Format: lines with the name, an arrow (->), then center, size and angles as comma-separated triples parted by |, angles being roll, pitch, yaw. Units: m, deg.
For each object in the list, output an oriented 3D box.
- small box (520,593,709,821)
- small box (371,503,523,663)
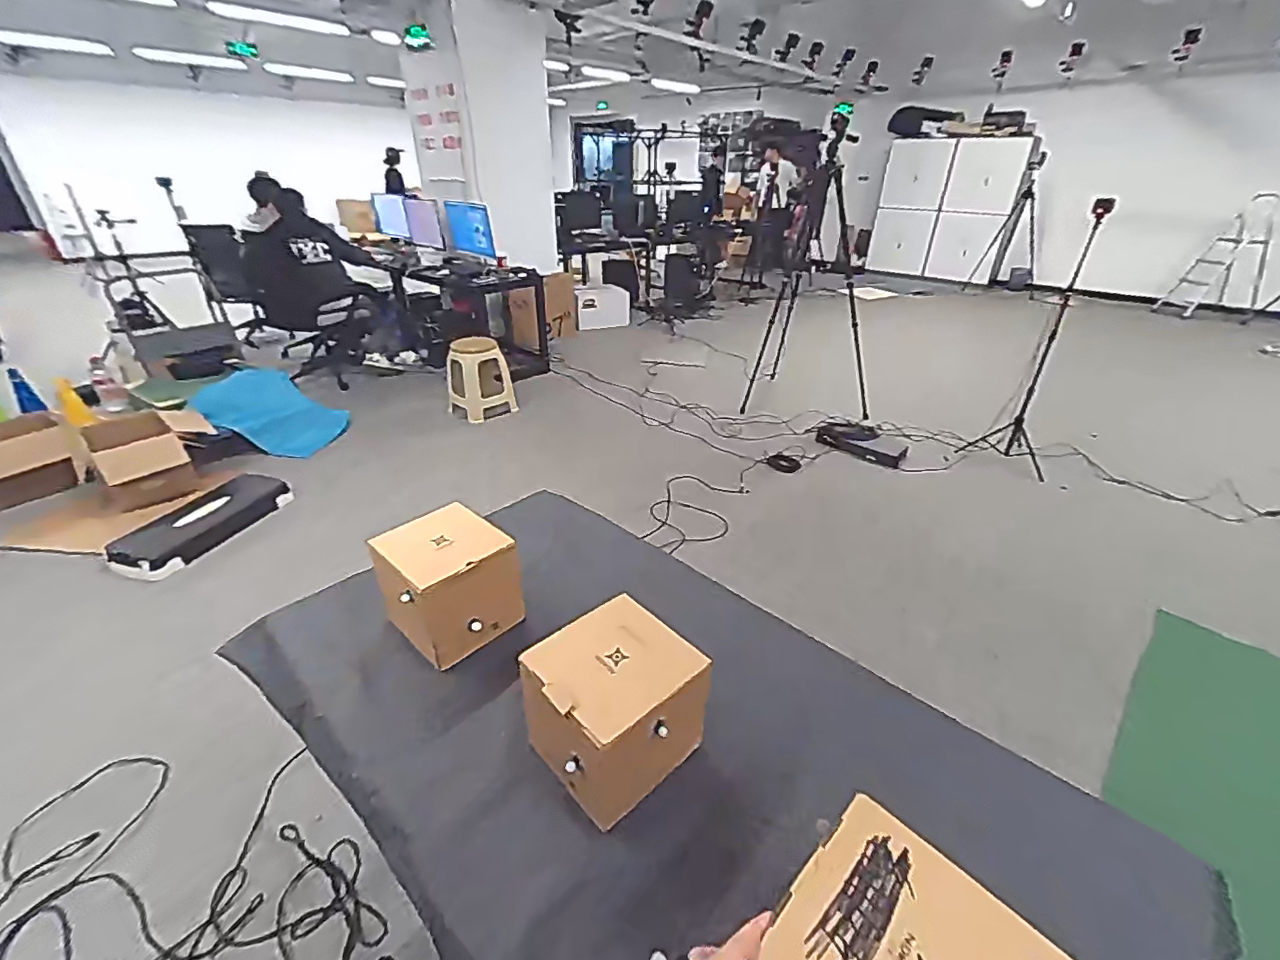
small box -> -0.032, 0.287, 0.700 | 0.179, 0.176, 0.168 | -23, 39, -37
small box -> -0.315, 0.167, 0.901 | 0.179, 0.176, 0.168 | 25, 38, 34
